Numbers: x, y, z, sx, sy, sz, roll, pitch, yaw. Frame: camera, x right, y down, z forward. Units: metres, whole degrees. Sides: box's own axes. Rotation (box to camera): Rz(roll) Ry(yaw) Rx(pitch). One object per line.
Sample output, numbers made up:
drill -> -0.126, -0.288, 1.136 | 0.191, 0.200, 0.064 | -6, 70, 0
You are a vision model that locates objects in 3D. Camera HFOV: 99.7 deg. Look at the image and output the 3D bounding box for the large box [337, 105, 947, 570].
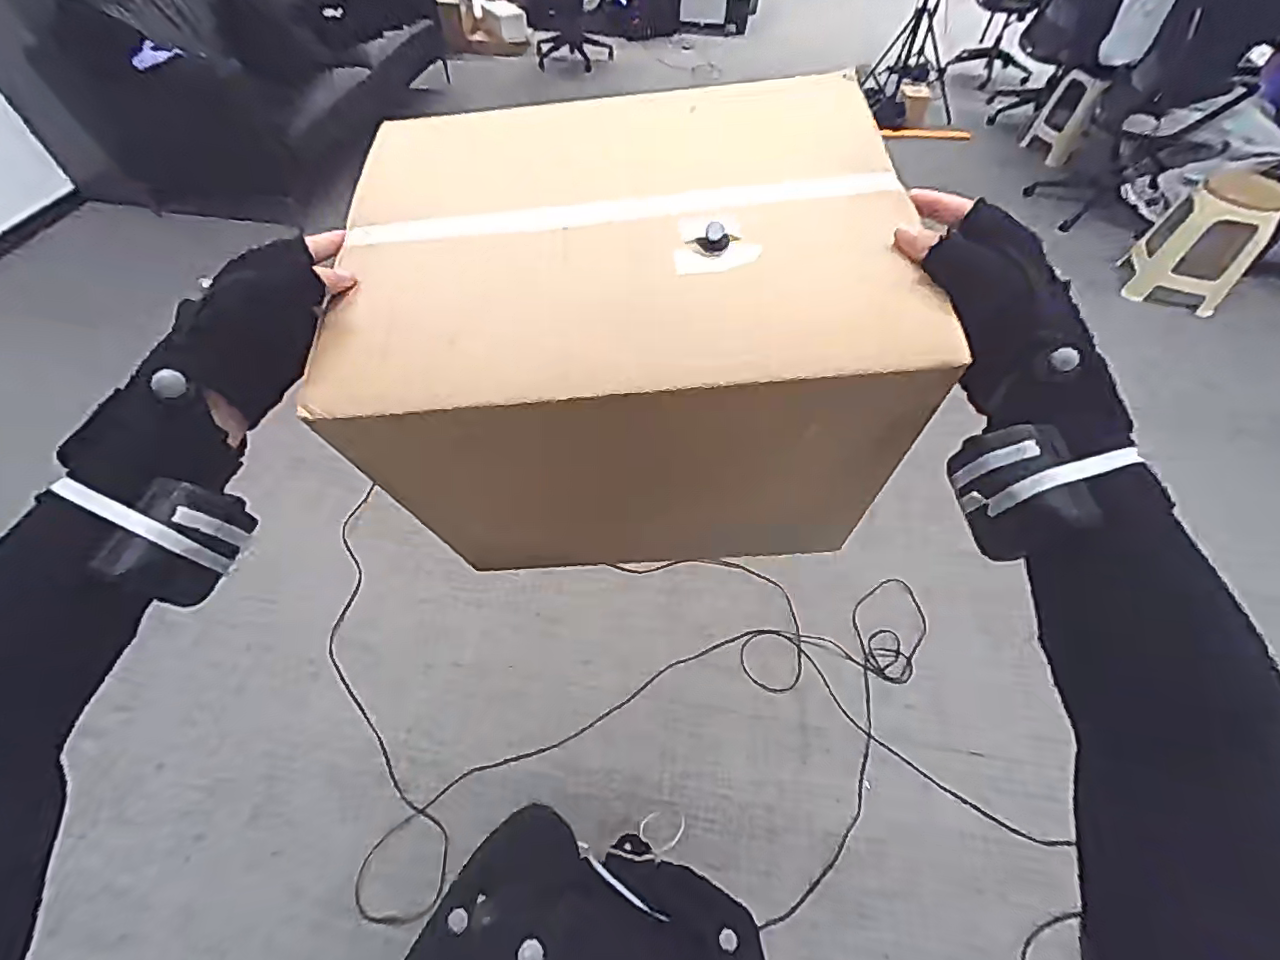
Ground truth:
large box -> 0.000, -0.115, 0.546 | 0.408, 0.320, 0.320 | -4, 62, 3
